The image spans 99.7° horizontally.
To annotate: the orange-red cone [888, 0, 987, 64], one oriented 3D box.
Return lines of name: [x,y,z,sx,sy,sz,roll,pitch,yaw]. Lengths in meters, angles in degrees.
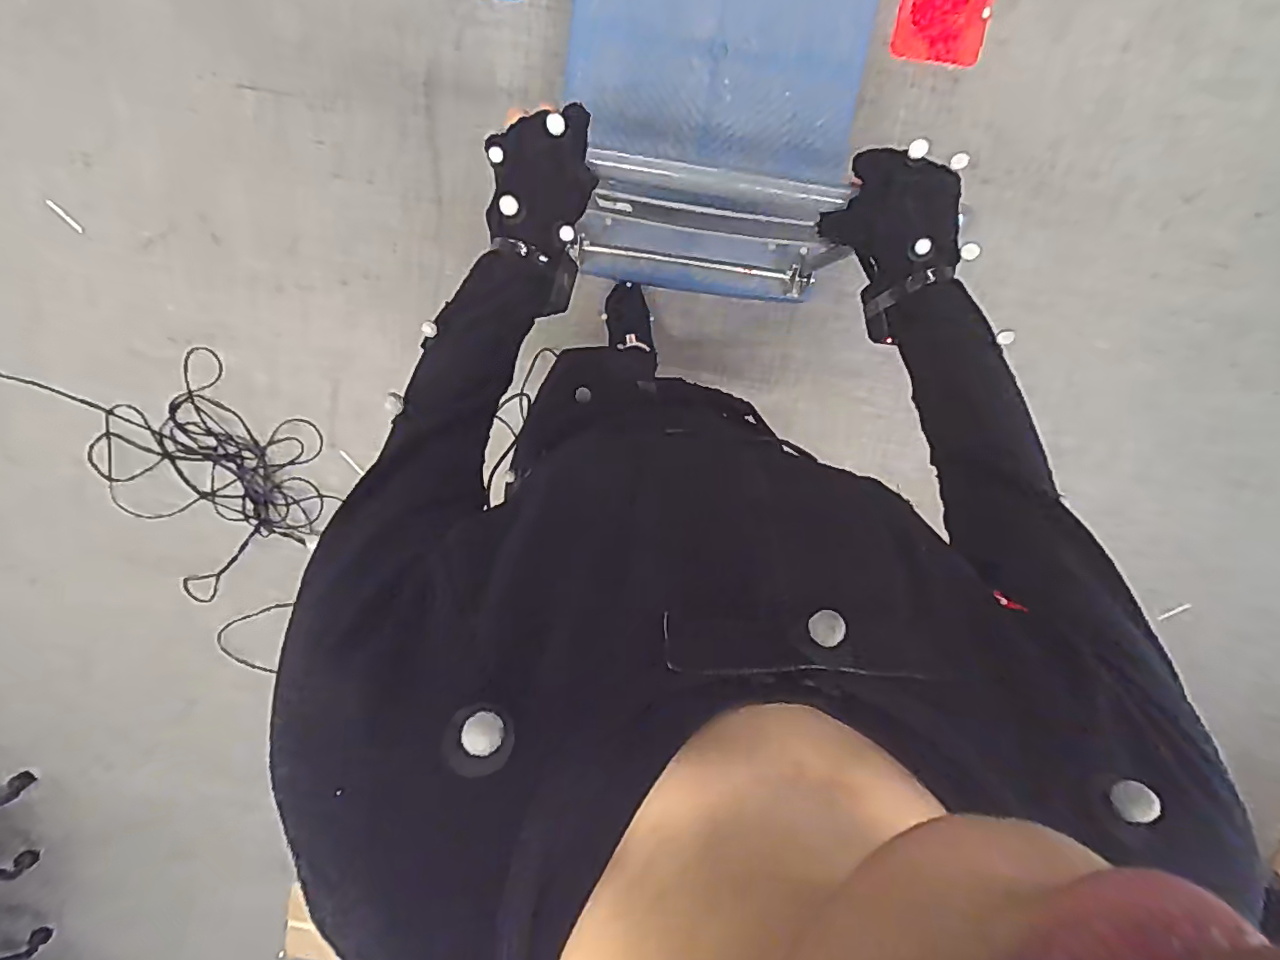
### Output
orange-red cone: [0.652,-0.985,1.018,0.199,0.360,0.198,8,106,0]
